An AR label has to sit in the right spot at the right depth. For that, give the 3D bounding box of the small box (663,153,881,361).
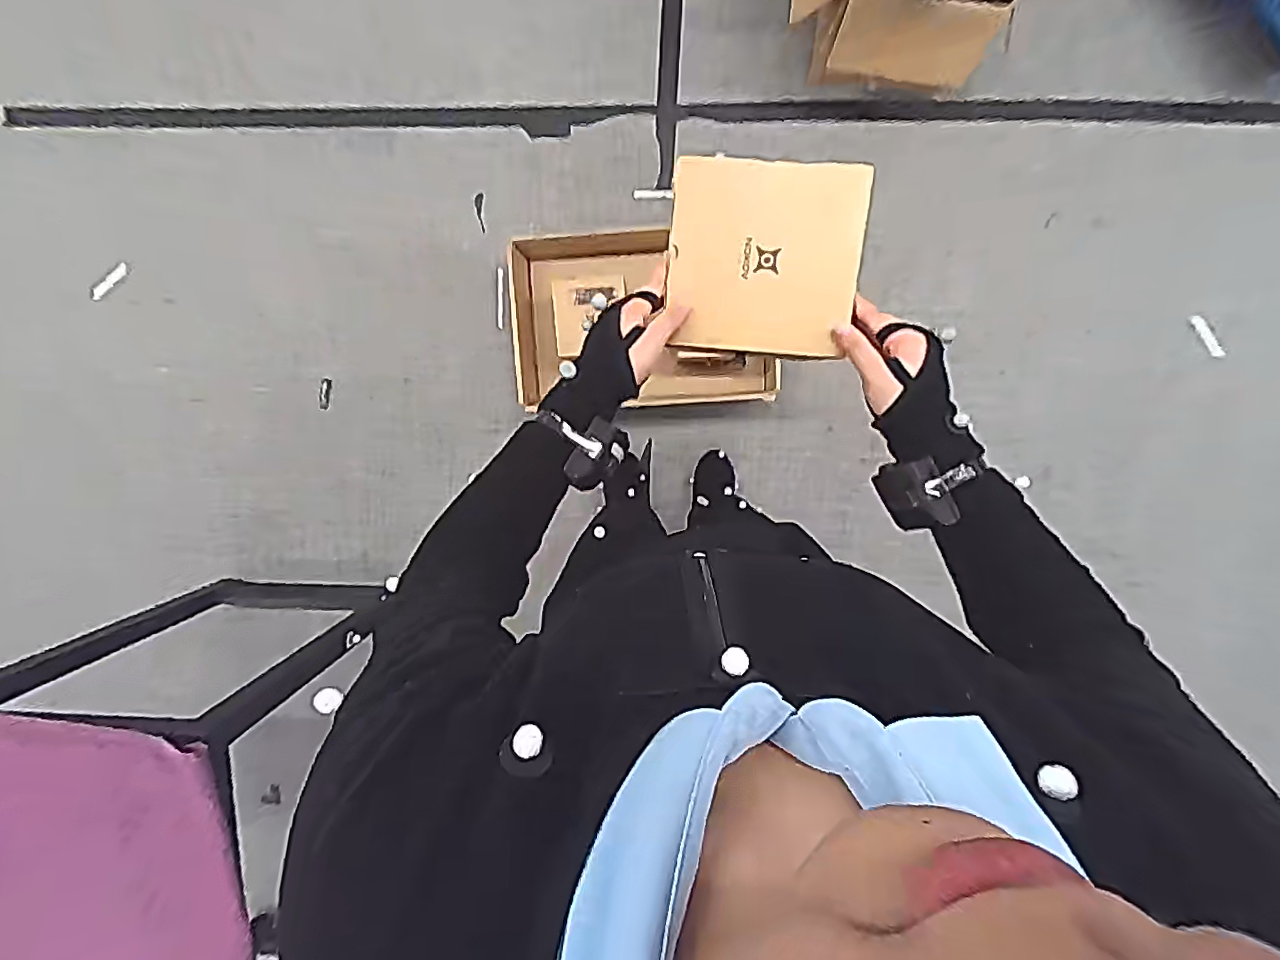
[{"bbox_3d":[0.122,-0.217,0.563,0.179,0.176,0.168,6,103,5],"label":"small box"}]

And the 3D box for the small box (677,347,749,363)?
[{"bbox_3d":[0.172,-0.374,1.294,0.168,0.176,0.179,-1,97,3],"label":"small box"}]
